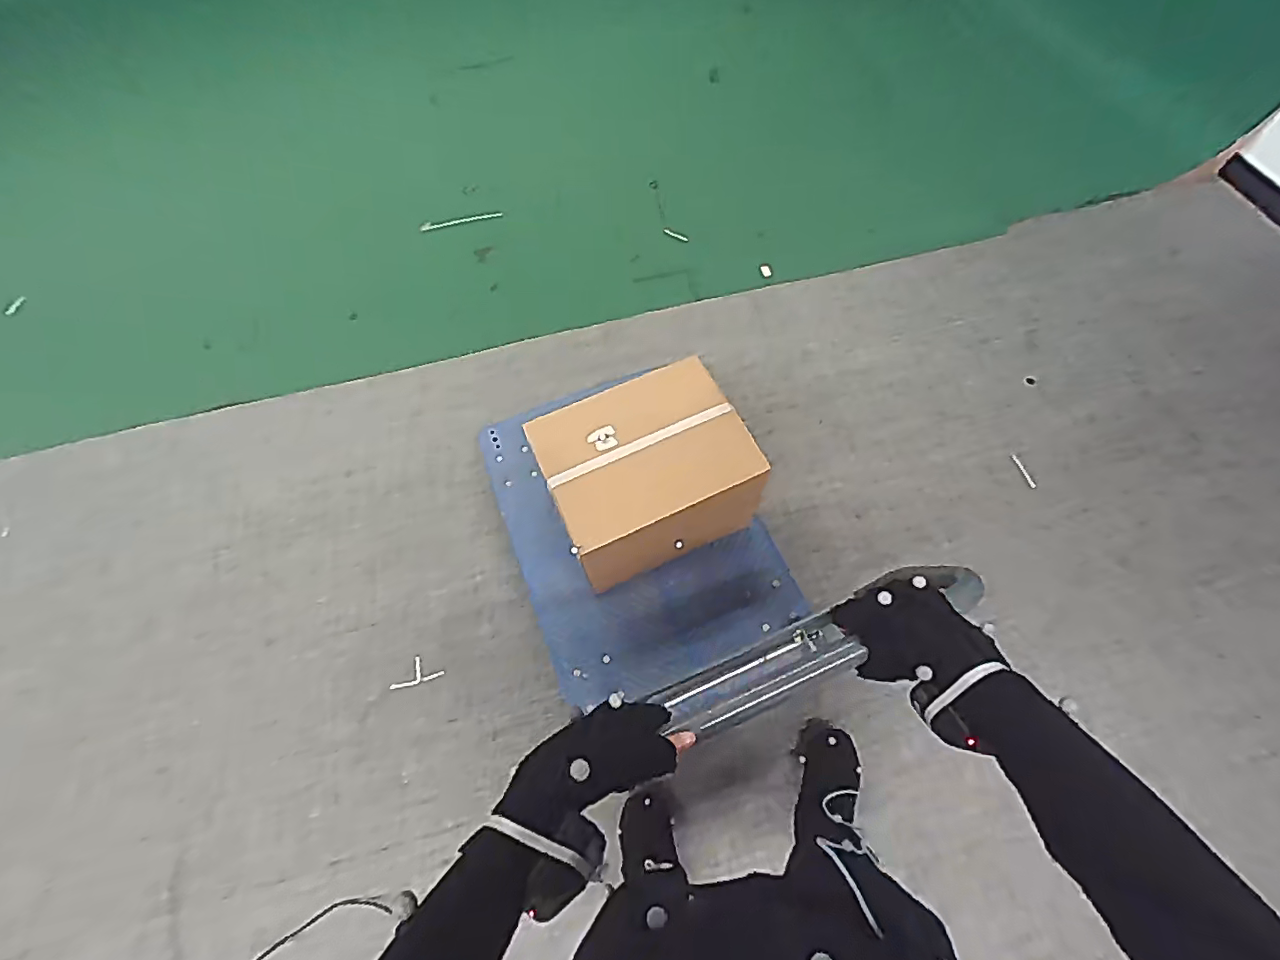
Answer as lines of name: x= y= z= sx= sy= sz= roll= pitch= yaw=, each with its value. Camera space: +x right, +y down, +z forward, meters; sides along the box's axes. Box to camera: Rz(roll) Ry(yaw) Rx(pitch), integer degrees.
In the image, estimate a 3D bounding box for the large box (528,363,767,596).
large box: x=0.018 y=0.010 z=1.224 sx=0.408 sy=0.320 sz=0.320 roll=-26 pitch=66 yaw=-9
